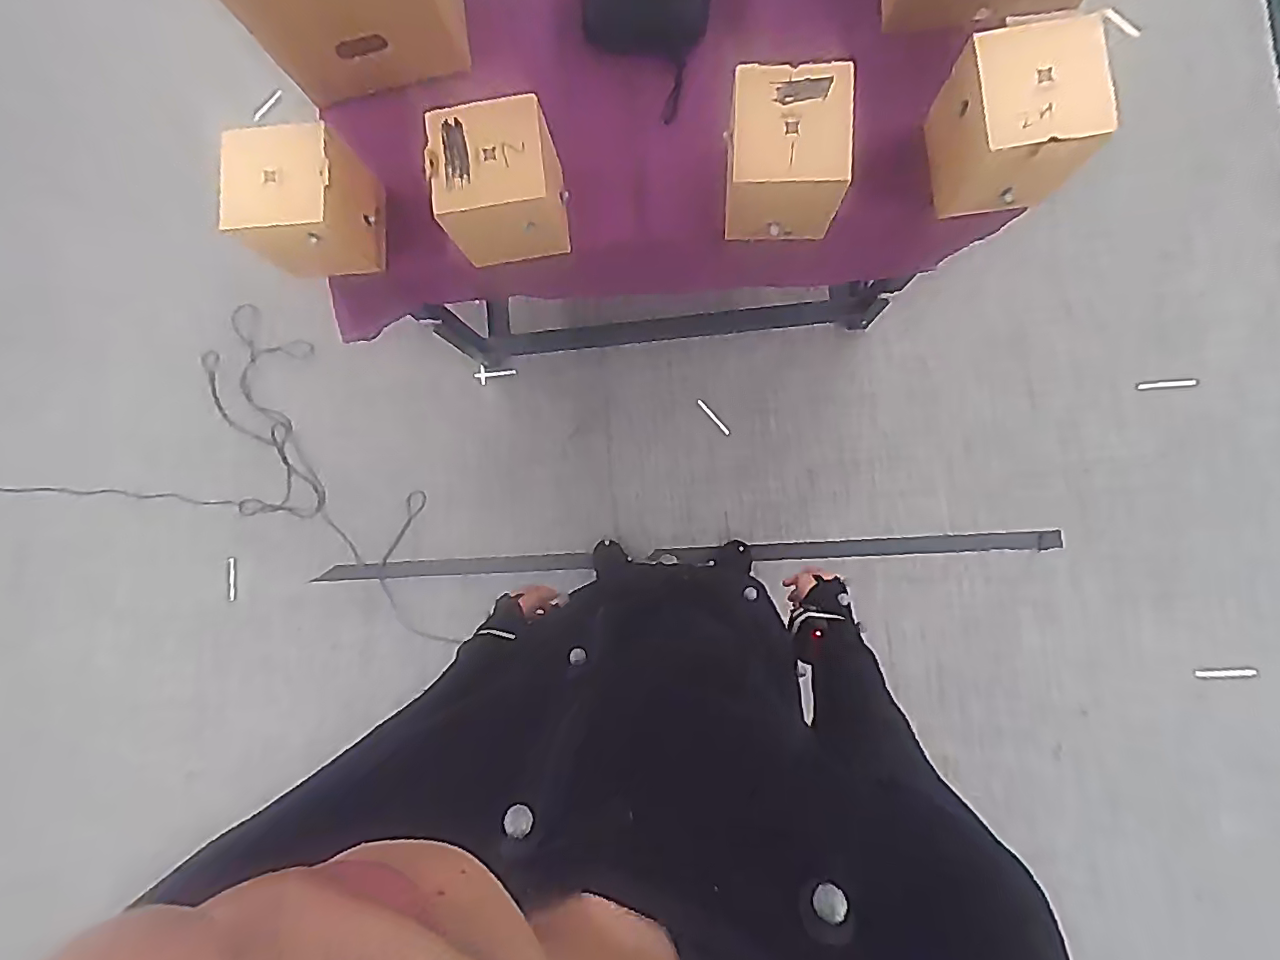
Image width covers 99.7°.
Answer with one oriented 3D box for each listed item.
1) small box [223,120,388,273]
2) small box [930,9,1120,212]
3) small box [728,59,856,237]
[{"bbox_3d":[-0.555,-0.466,0.915,0.179,0.176,0.168,-3,86,4],"label":"small box"},{"bbox_3d":[0.555,-0.535,0.806,0.168,0.176,0.179,-5,86,7],"label":"small box"},{"bbox_3d":[0.225,-0.503,0.839,0.168,0.176,0.179,2,88,6],"label":"small box"}]
